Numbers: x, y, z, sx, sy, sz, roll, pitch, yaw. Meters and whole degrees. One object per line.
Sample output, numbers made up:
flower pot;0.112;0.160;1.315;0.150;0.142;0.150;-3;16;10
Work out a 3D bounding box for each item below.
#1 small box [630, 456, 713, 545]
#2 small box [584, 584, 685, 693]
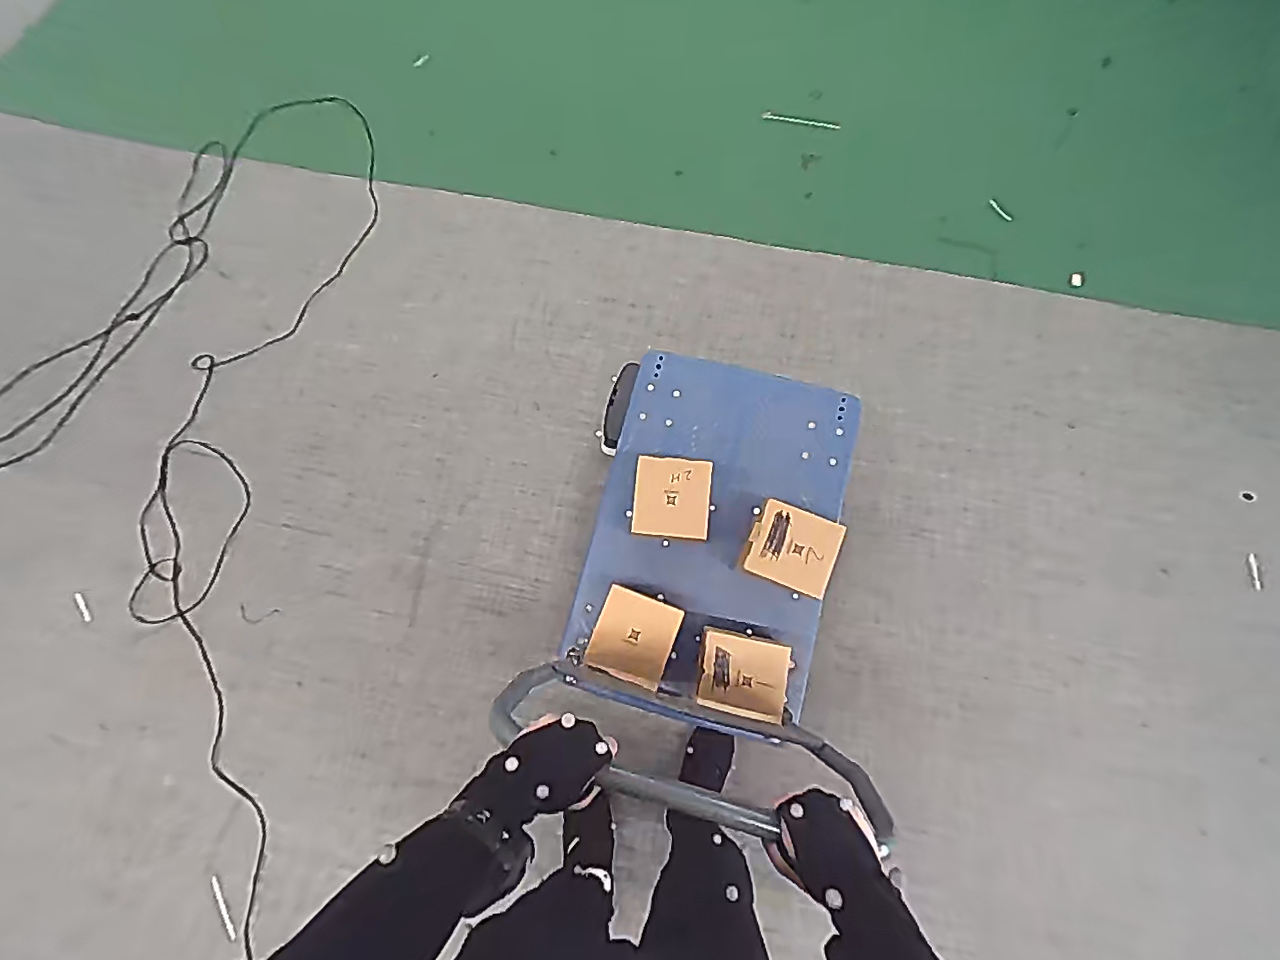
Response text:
small box;0.074;0.054;1.255;0.168;0.176;0.179;6;79;3
small box;-0.010;0.342;1.202;0.168;0.176;0.179;21;81;7
